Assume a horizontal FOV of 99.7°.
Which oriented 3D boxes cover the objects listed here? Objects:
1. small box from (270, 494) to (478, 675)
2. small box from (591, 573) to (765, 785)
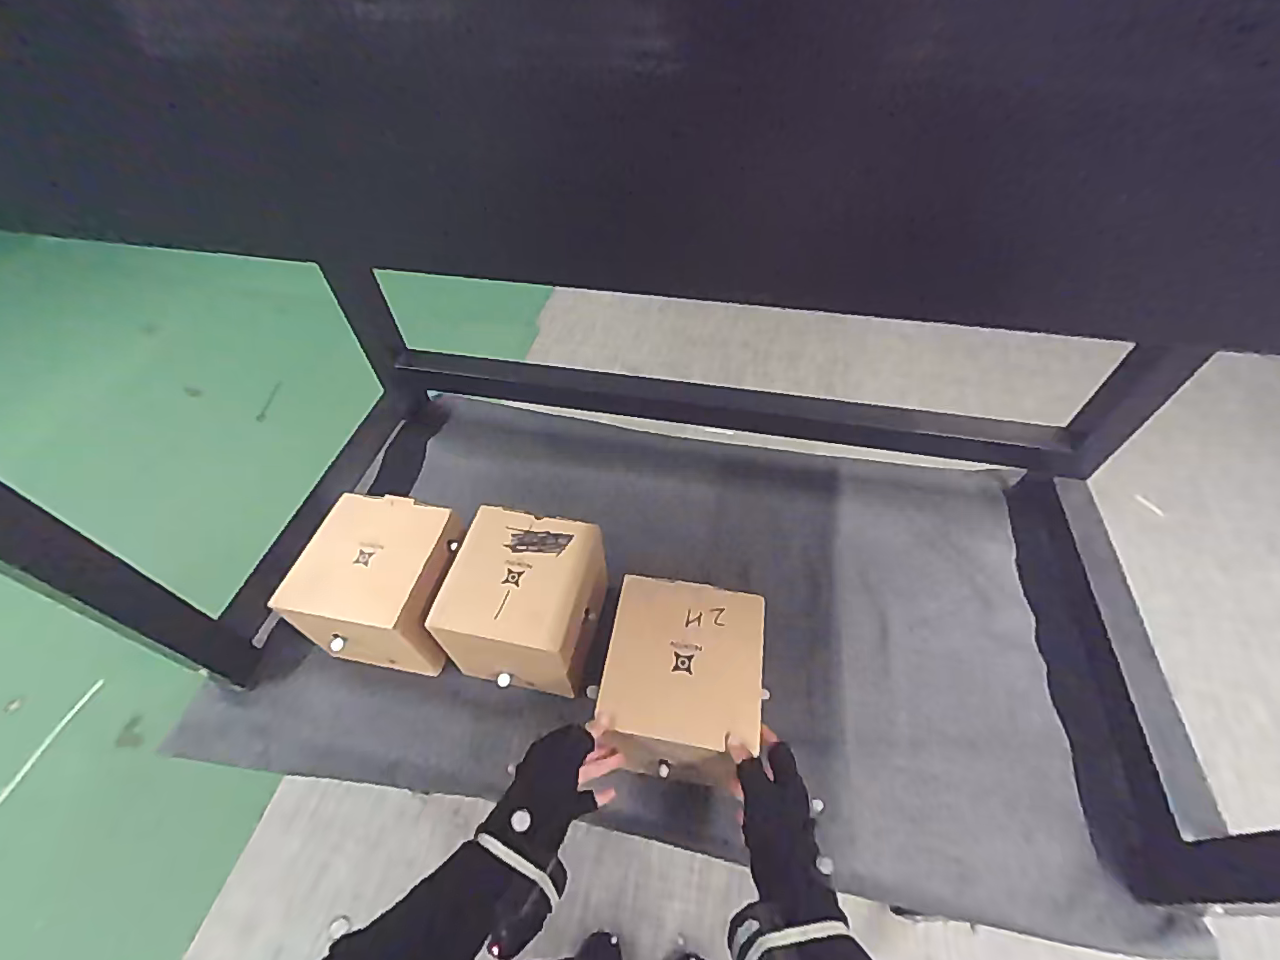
[{"bbox_3d":[-0.342,0.146,0.742,0.168,0.176,0.179,8,51,8],"label":"small box"},{"bbox_3d":[0.047,0.237,0.634,0.168,0.176,0.179,9,51,6],"label":"small box"}]
